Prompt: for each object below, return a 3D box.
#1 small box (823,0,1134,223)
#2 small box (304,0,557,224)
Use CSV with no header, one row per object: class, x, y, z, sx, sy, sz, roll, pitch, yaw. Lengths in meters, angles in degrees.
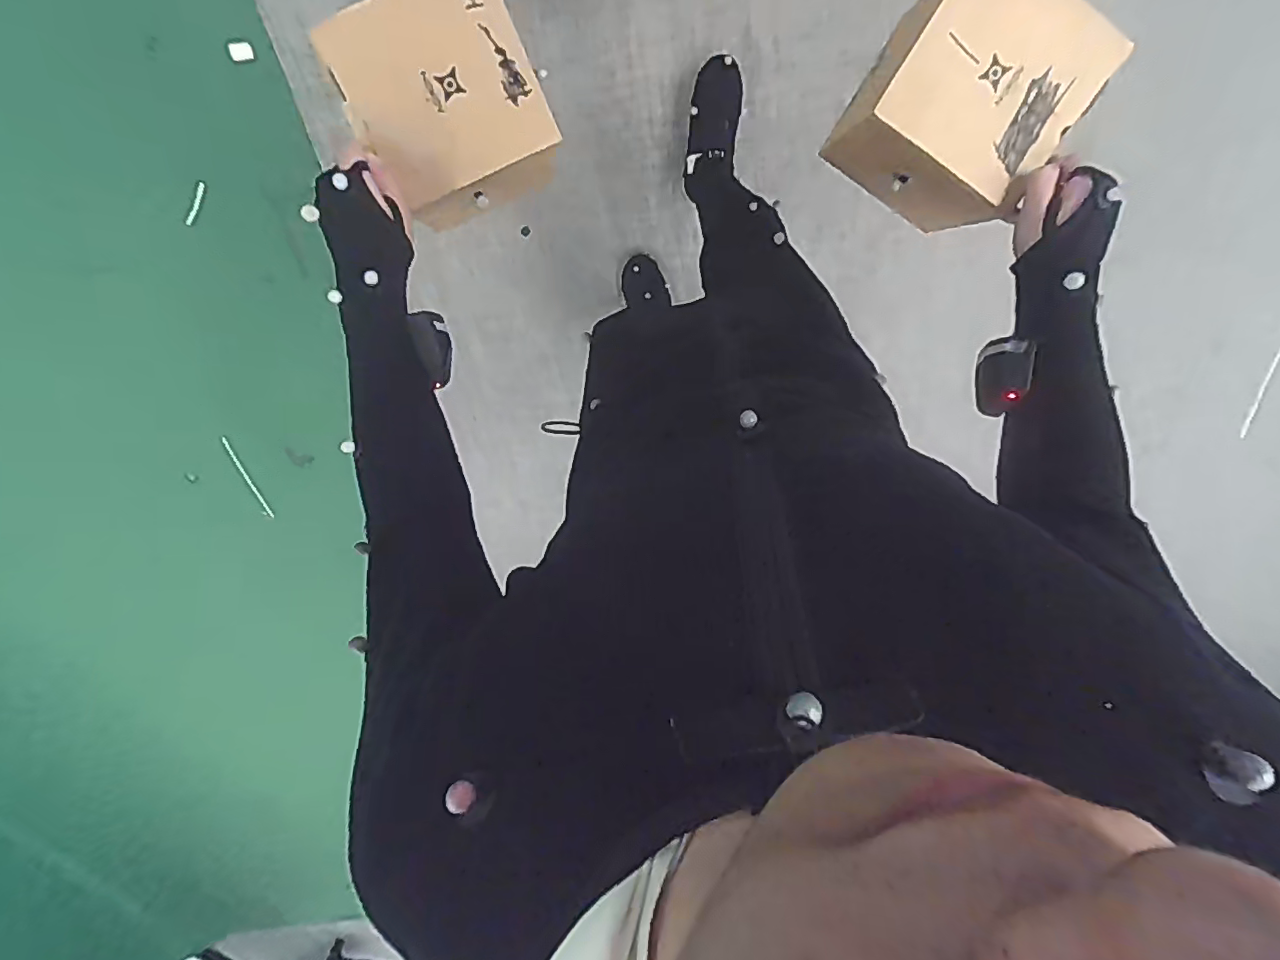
small box,0.327,-0.392,0.564,0.179,0.176,0.168,29,106,-9
small box,-0.197,-0.393,0.573,0.179,0.176,0.168,-24,110,-1
